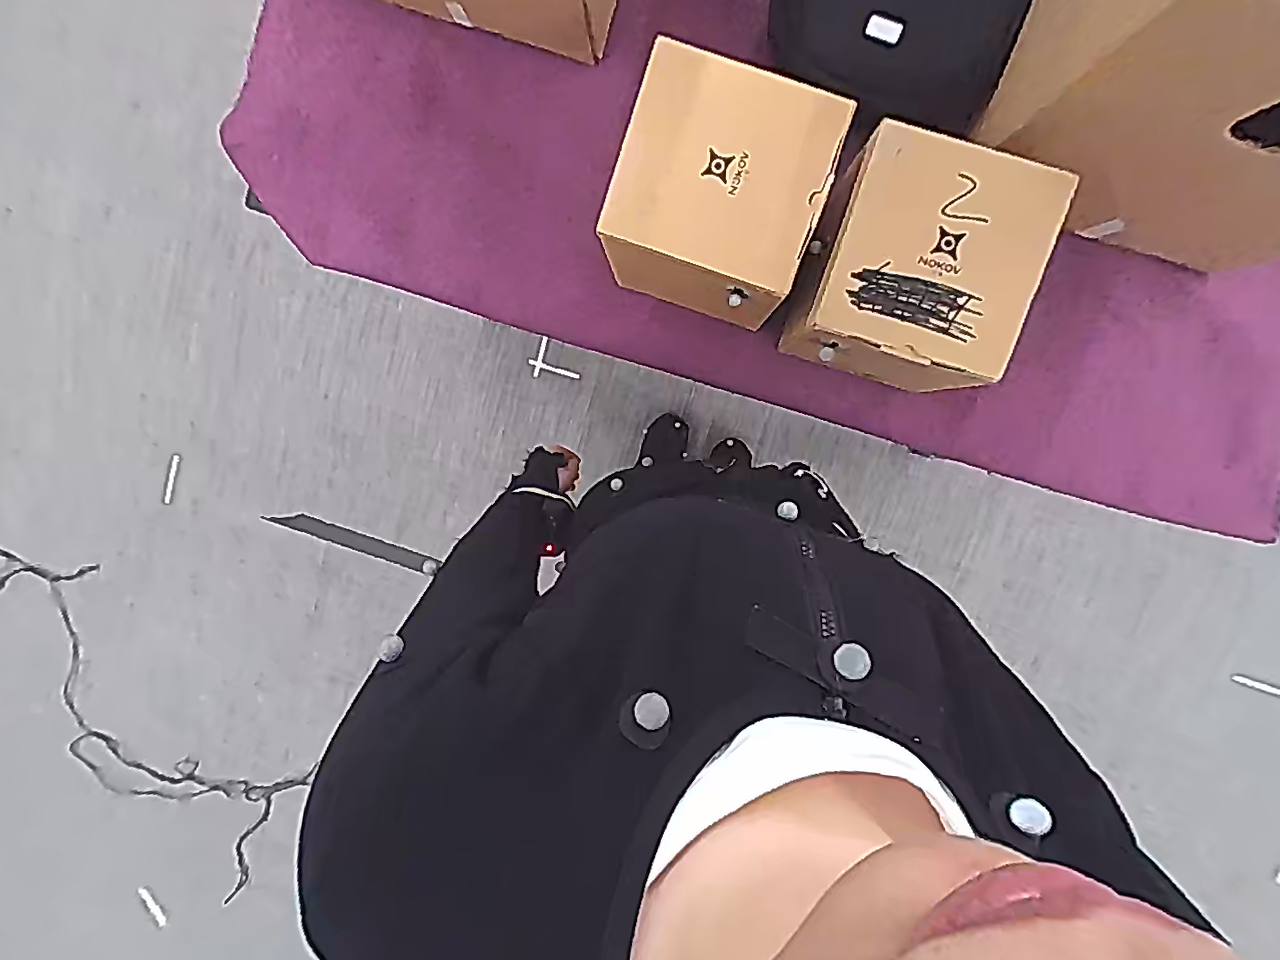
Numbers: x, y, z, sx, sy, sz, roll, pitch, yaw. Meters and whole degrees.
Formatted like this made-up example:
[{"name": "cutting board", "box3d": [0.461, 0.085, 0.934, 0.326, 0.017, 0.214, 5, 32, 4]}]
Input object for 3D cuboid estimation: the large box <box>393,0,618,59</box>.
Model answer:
[{"name": "large box", "box3d": [-0.137, -0.669, 0.422, 0.320, 0.320, 0.408, 16, 100, 0]}]
